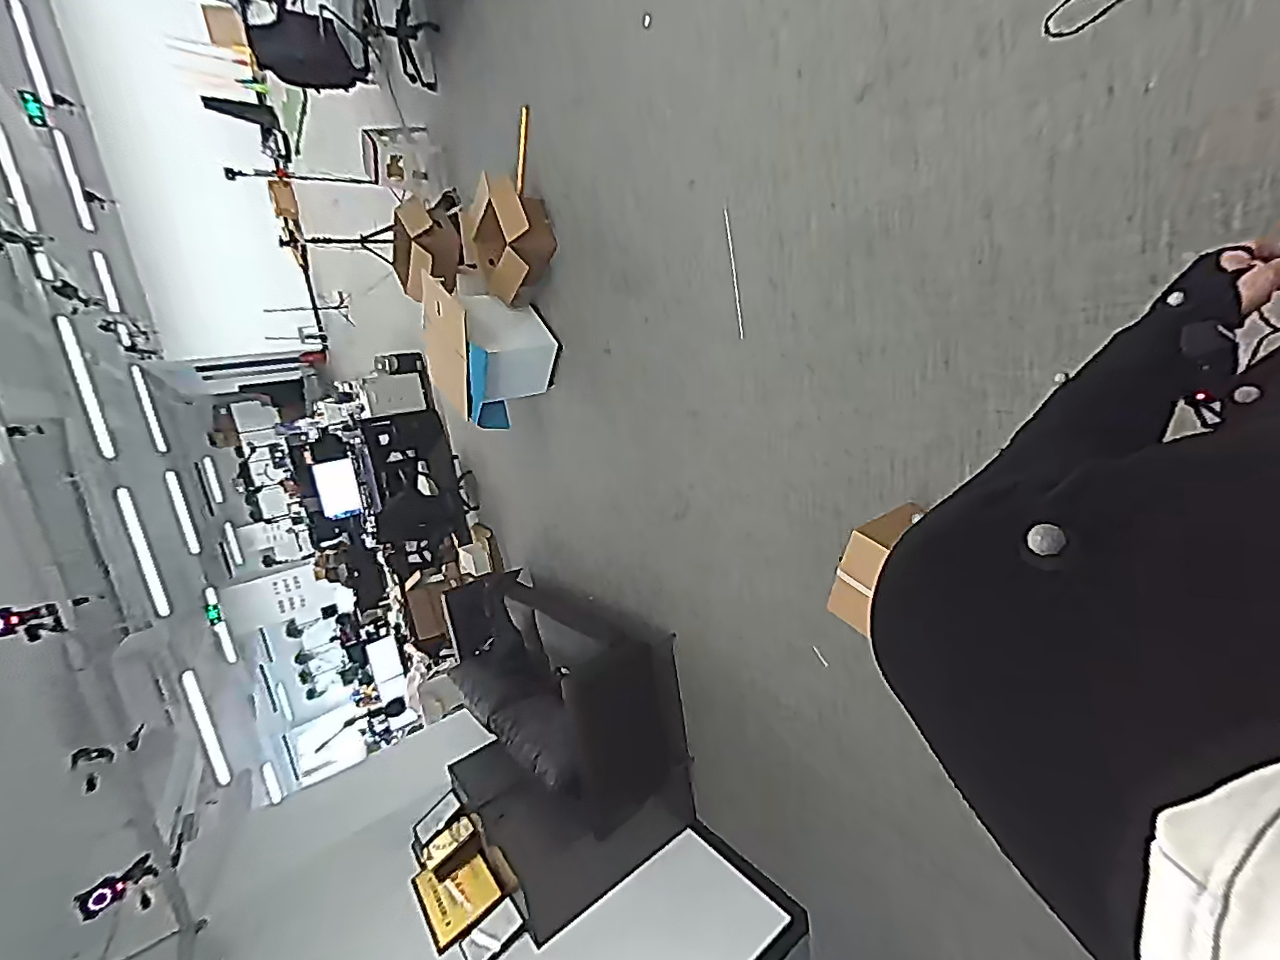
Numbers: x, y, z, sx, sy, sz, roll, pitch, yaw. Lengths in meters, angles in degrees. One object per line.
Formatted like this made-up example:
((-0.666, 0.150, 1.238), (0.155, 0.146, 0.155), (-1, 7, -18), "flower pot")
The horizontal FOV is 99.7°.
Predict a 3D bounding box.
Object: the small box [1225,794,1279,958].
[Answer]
((1.058, 0.642, 0.835), (0.168, 0.176, 0.179), (18, 117, 51), "small box")

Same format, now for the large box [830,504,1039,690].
((0.856, 0.321, 1.608), (0.408, 0.320, 0.320), (35, 132, 41), "large box")
